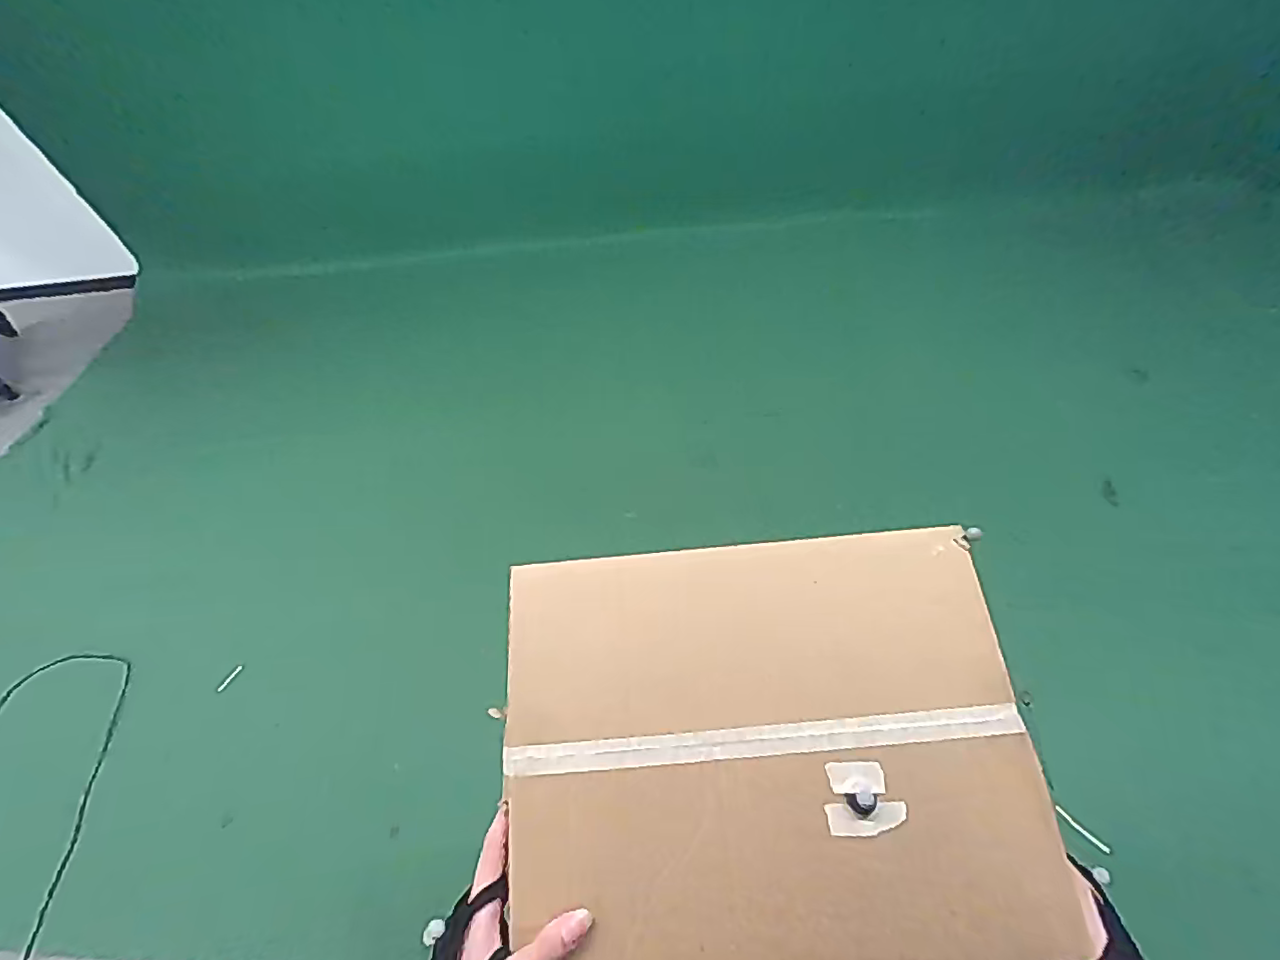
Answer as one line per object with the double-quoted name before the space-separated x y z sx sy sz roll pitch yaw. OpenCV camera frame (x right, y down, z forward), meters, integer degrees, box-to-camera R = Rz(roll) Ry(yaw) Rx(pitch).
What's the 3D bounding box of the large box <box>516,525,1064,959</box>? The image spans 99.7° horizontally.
"large box" 0.102 0.258 0.582 0.408 0.320 0.320 -5 69 1
